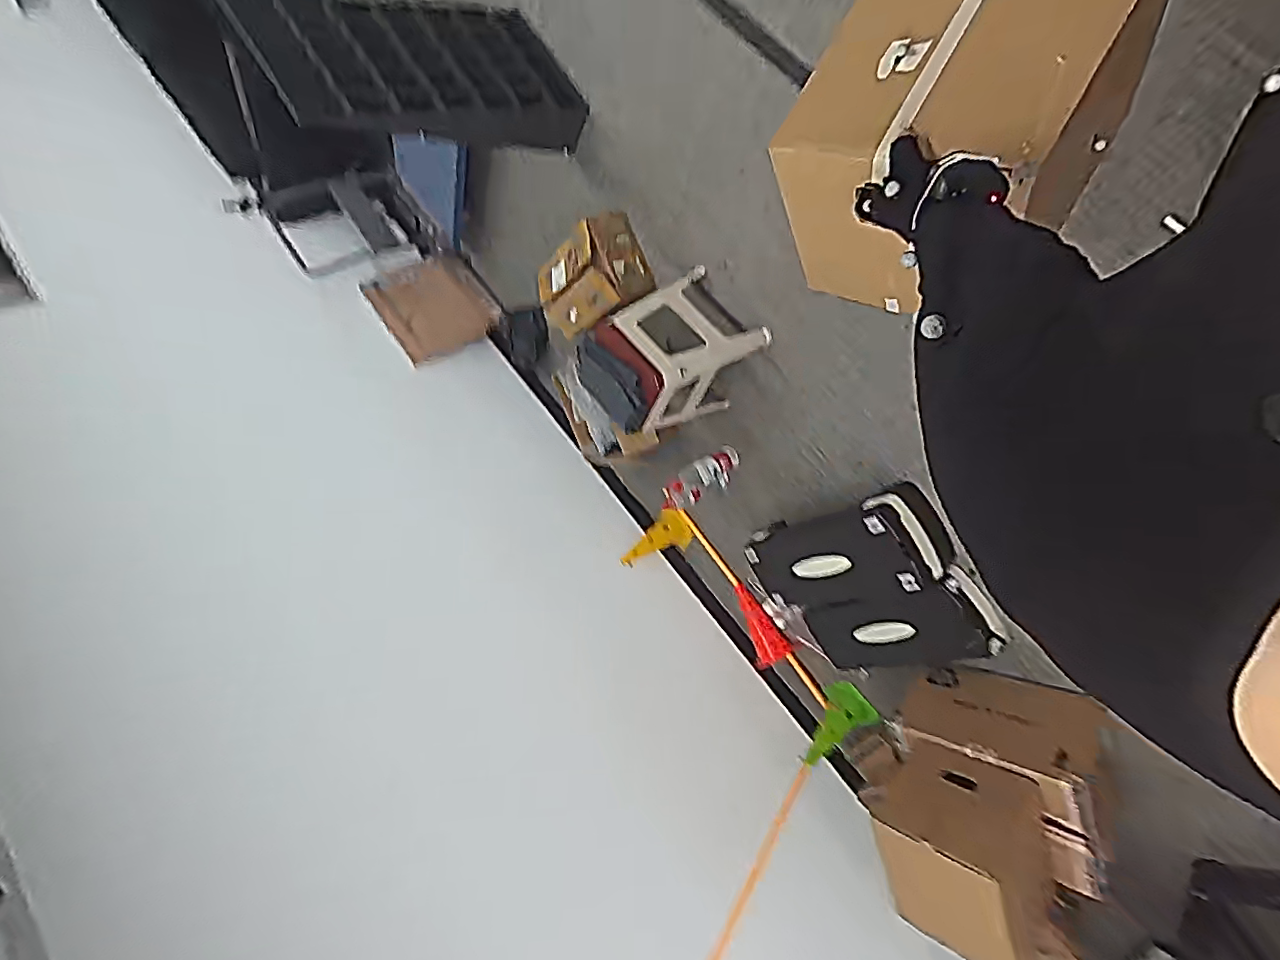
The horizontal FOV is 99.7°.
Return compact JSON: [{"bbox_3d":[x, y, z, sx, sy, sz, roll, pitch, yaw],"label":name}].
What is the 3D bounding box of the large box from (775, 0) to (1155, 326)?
[{"bbox_3d":[0.455,-0.504,0.772,0.320,0.408,0.320,30,179,33],"label":"large box"}]
